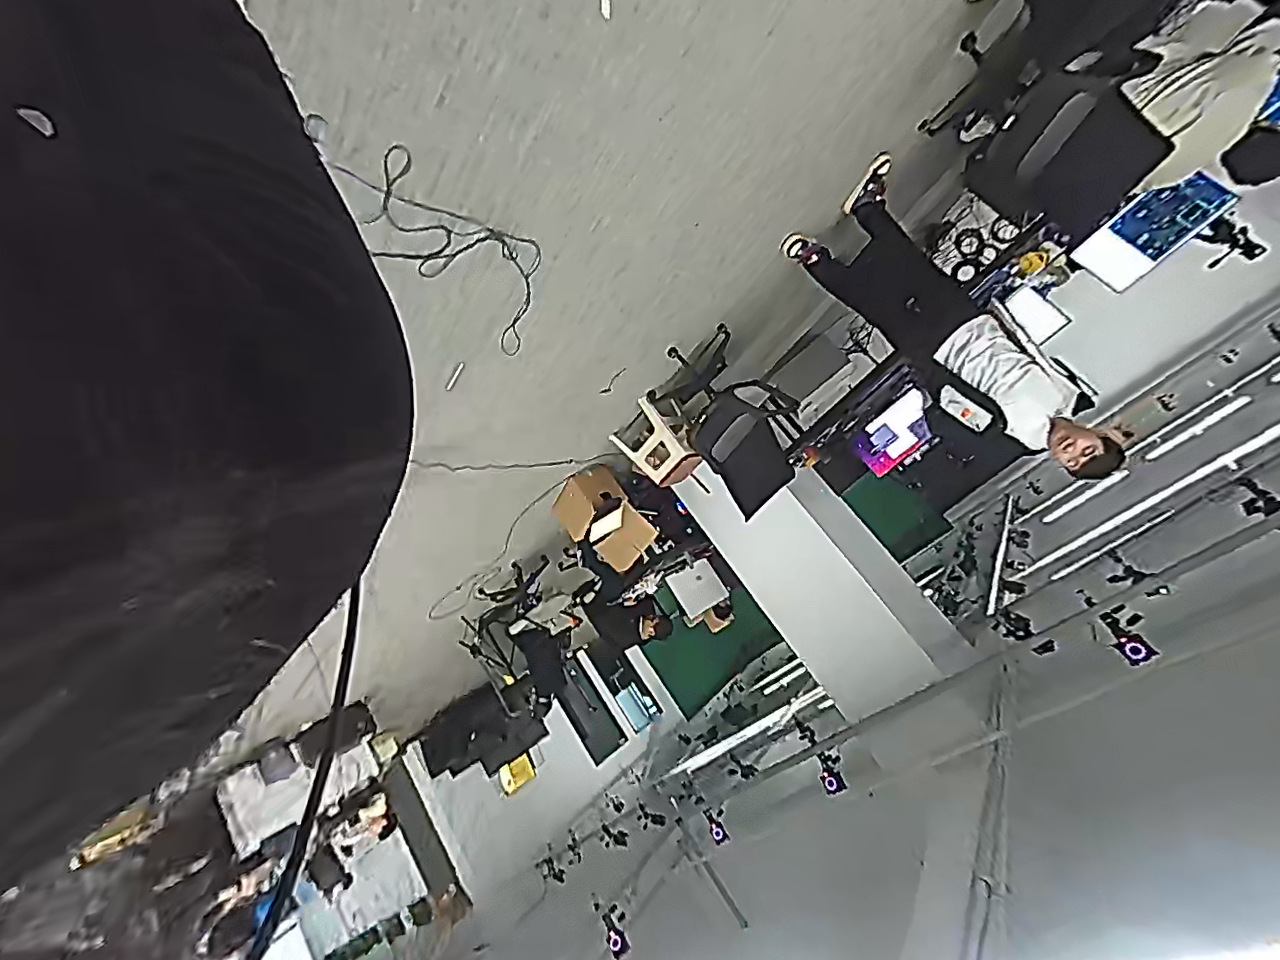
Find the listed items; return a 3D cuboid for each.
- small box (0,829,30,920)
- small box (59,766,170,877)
[{"bbox_3d":[-1.579,0.956,1.255,0.179,0.176,0.168,-43,161,21],"label":"small box"},{"bbox_3d":[-1.417,0.912,1.458,0.168,0.176,0.179,-48,160,30],"label":"small box"}]
